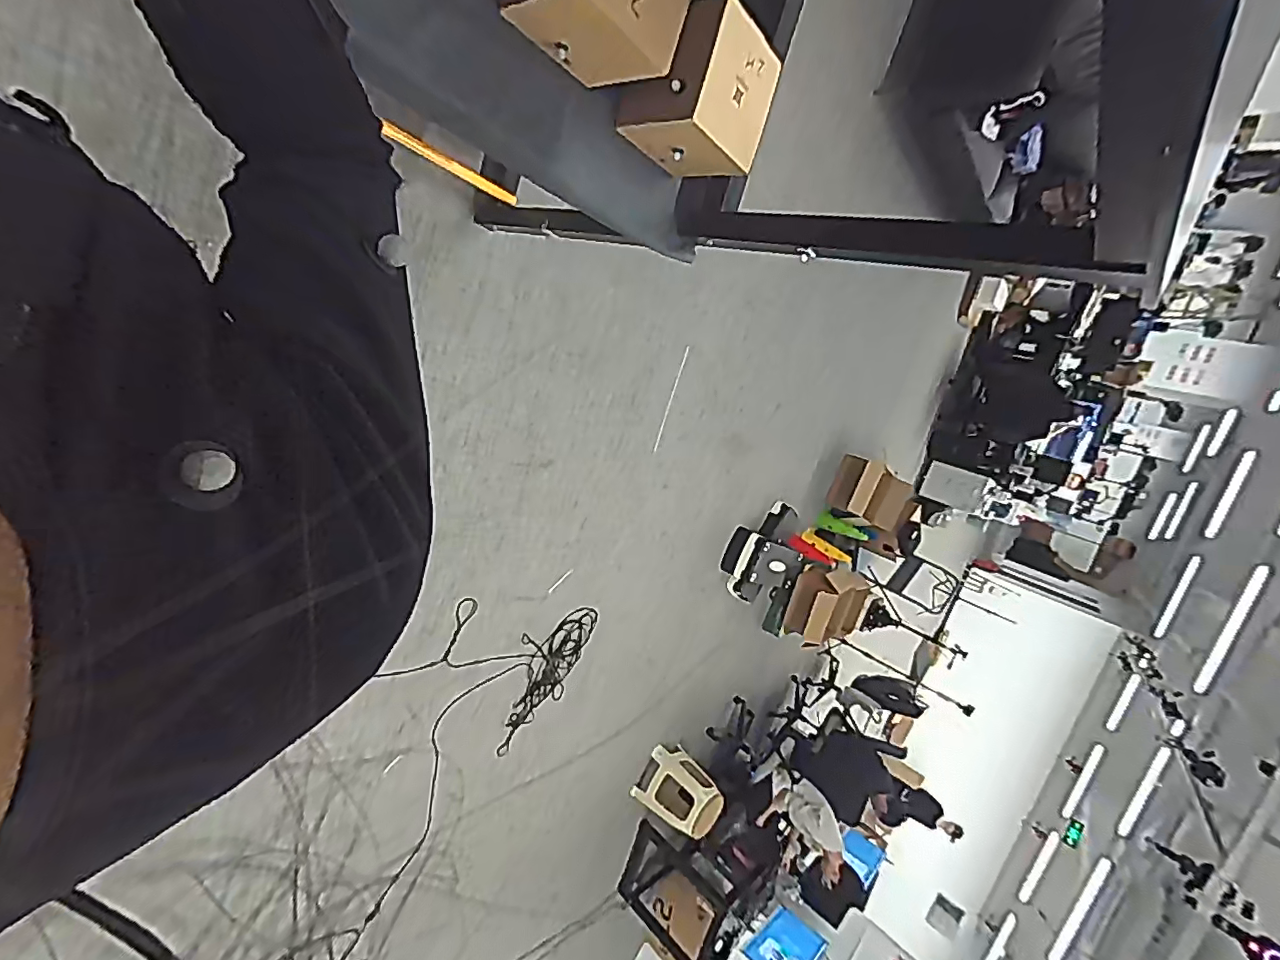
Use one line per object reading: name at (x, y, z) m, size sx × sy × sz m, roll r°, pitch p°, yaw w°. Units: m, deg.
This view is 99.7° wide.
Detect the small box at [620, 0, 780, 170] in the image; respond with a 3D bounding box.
small box at (0.091, -0.629, 0.875) m, size 0.168 × 0.176 × 0.179 m, roll 4°, pitch 107°, yaw -51°
